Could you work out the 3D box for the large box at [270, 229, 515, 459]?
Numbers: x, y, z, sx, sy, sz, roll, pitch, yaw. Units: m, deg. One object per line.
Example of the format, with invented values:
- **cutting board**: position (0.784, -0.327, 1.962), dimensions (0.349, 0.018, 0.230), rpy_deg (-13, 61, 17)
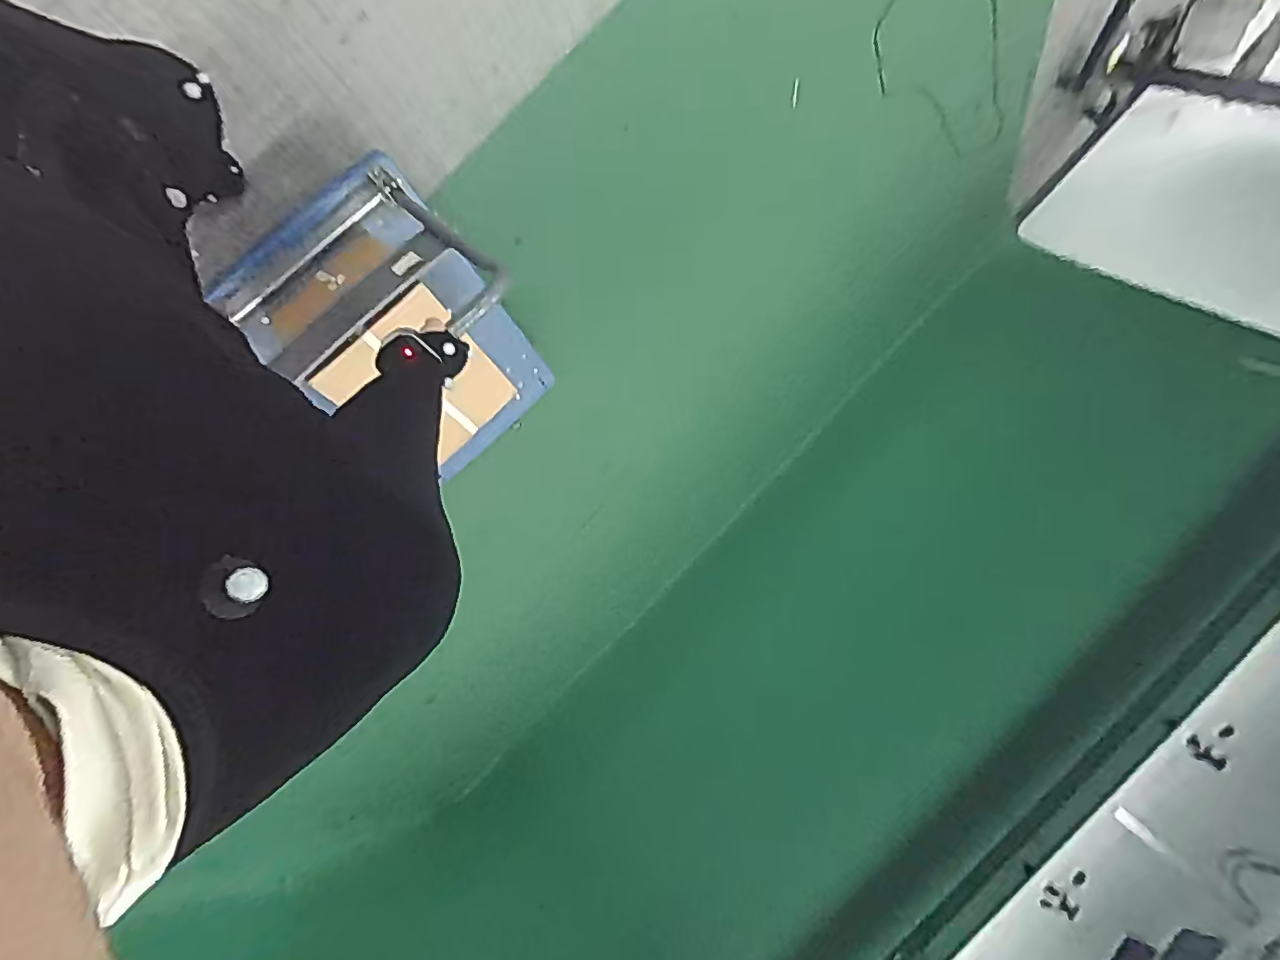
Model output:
- **large box**: position (-0.599, -0.327, 1.350), dimensions (0.320, 0.320, 0.408), rpy_deg (-43, 149, -4)
